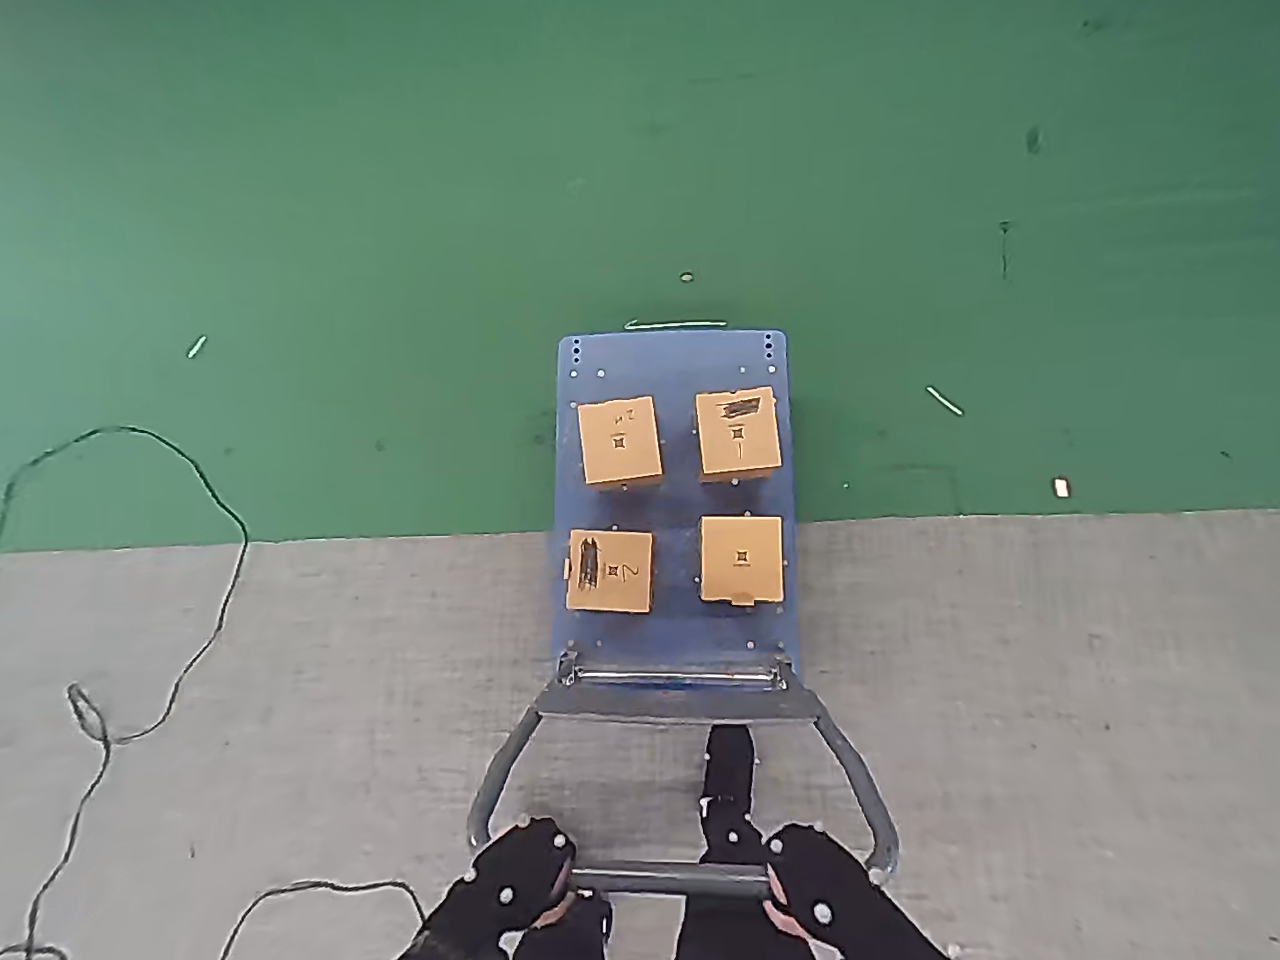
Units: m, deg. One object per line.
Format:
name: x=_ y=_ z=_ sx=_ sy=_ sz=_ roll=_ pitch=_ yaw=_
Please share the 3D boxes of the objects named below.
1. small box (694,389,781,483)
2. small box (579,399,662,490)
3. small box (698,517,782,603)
small box: x=0.213 y=-0.093 z=1.228 sx=0.168 sy=0.176 sz=0.179 roll=-5 pitch=83 yaw=3
small box: x=-0.039 y=-0.074 z=1.241 sx=0.168 sy=0.176 sz=0.179 roll=-7 pitch=82 yaw=2
small box: x=0.215 y=0.174 z=1.196 sx=0.168 sy=0.176 sz=0.179 roll=0 pitch=83 yaw=4
